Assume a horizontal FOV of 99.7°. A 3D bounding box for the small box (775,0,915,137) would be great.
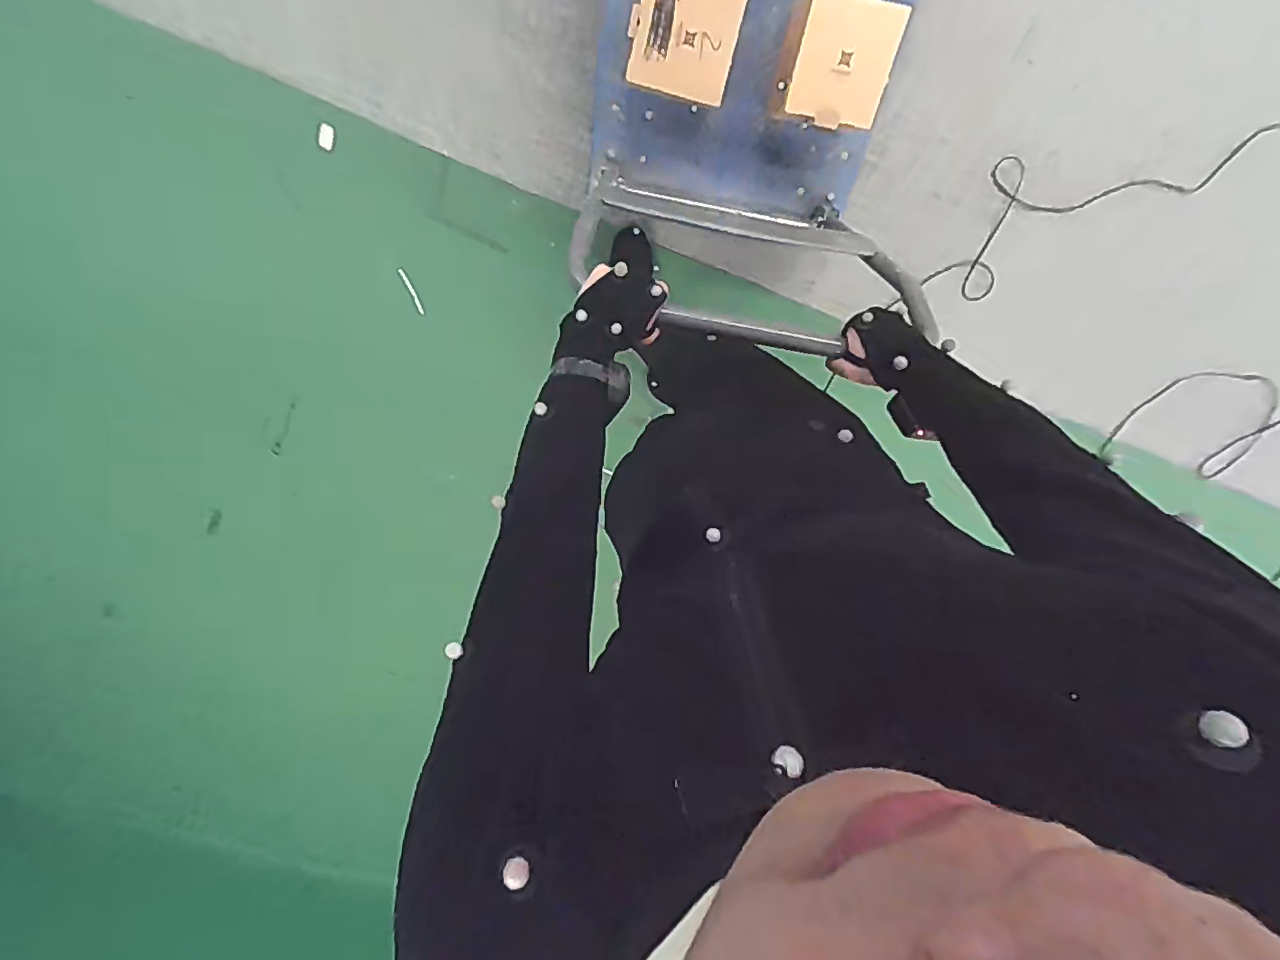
[{"bbox_3d":[0.361,-0.752,0.995,0.168,0.176,0.179,9,124,-4],"label":"small box"}]
